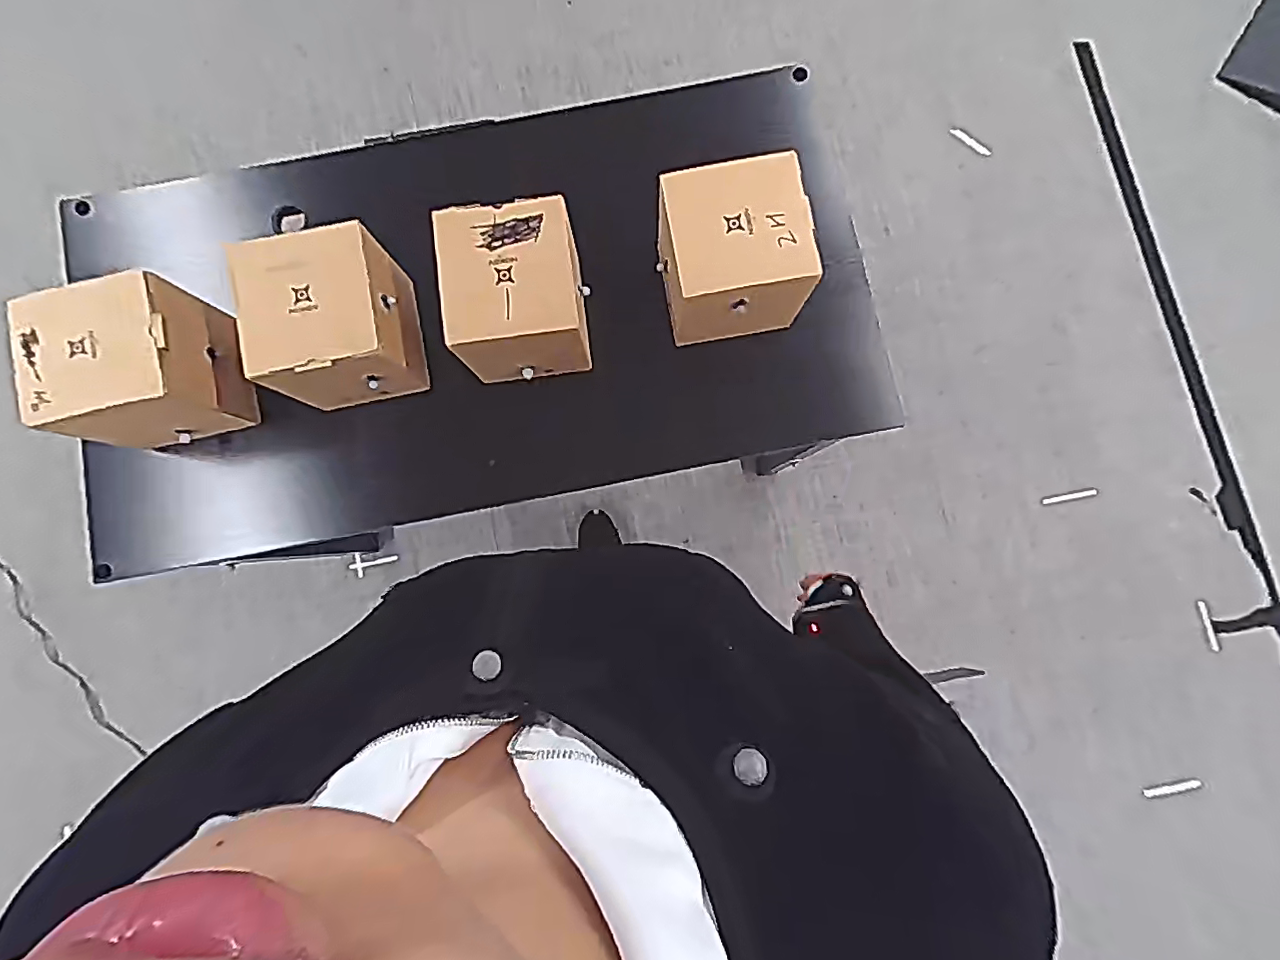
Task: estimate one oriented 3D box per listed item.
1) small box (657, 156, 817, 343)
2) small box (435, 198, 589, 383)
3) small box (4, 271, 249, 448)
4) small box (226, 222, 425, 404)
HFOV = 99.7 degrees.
[{"bbox_3d":[0.121,-0.303,0.746,0.179,0.176,0.168,-10,84,-1],"label":"small box"},{"bbox_3d":[-0.165,-0.248,0.740,0.168,0.176,0.179,-7,84,-1],"label":"small box"},{"bbox_3d":[-0.667,-0.151,0.728,0.179,0.176,0.168,-14,84,-3],"label":"small box"},{"bbox_3d":[-0.413,-0.211,0.738,0.168,0.176,0.179,-12,83,-2],"label":"small box"}]
